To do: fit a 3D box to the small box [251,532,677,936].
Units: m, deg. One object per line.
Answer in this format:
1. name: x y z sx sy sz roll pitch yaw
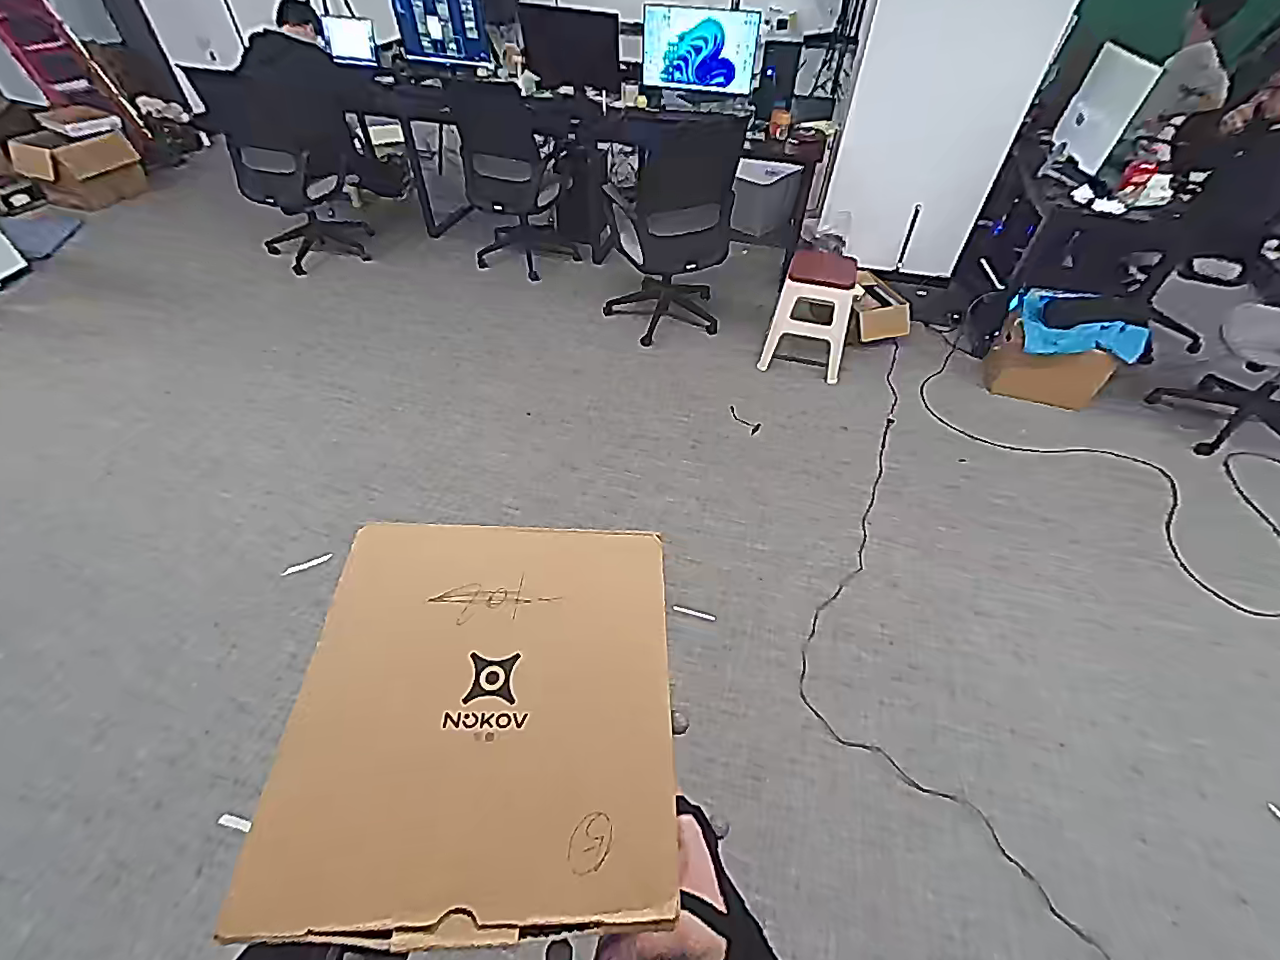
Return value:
1. small box: -0.074 0.150 0.320 0.168 0.176 0.179 3 51 -6
